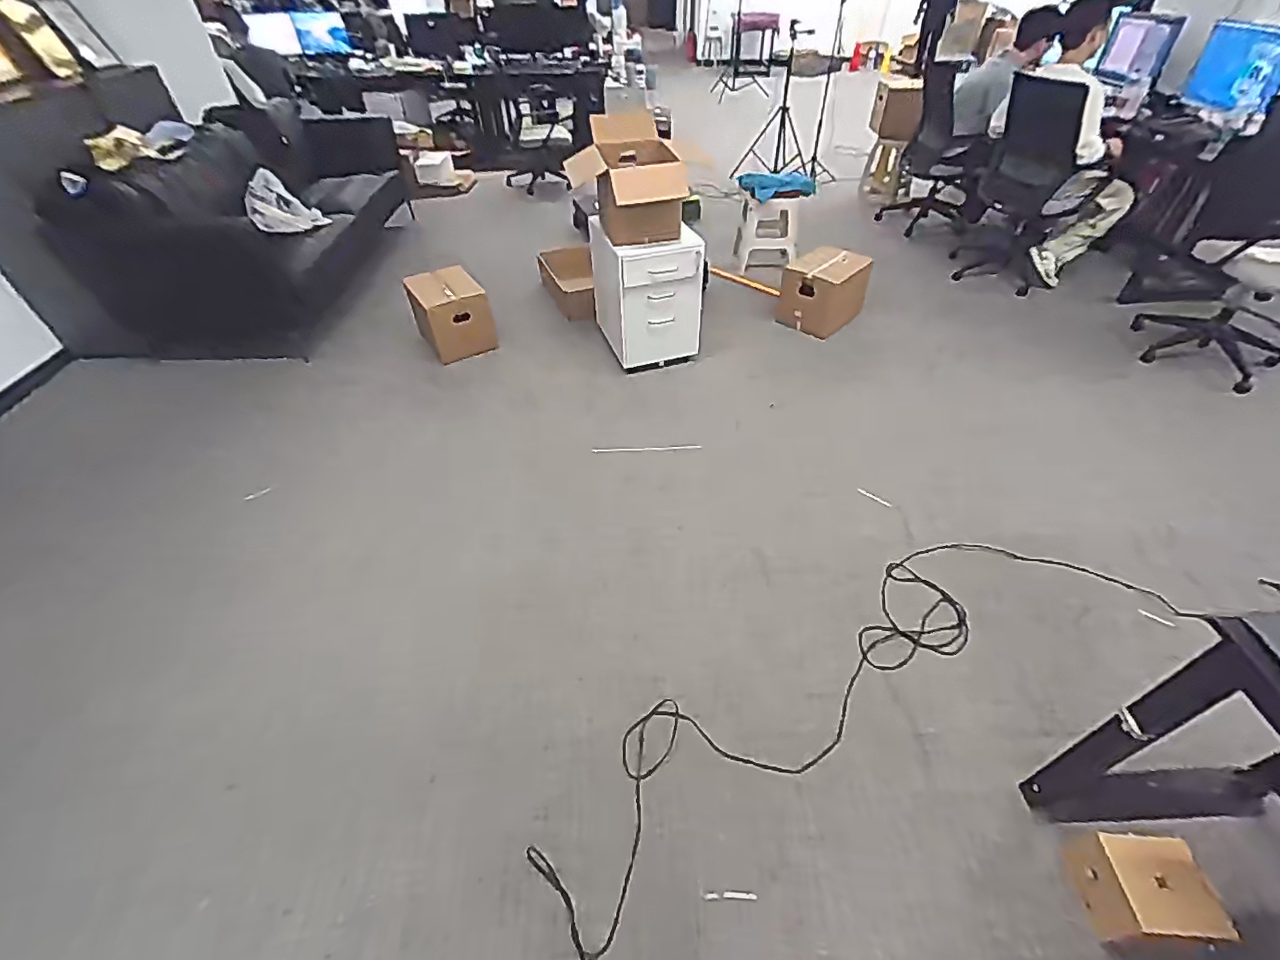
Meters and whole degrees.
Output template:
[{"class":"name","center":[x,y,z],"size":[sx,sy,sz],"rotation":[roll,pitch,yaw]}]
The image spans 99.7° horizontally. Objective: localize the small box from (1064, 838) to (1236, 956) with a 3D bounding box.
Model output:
[{"class":"small box","center":[1.031,0.867,1.121],"size":[0.179,0.176,0.168],"rotation":[2,43,3]}]
